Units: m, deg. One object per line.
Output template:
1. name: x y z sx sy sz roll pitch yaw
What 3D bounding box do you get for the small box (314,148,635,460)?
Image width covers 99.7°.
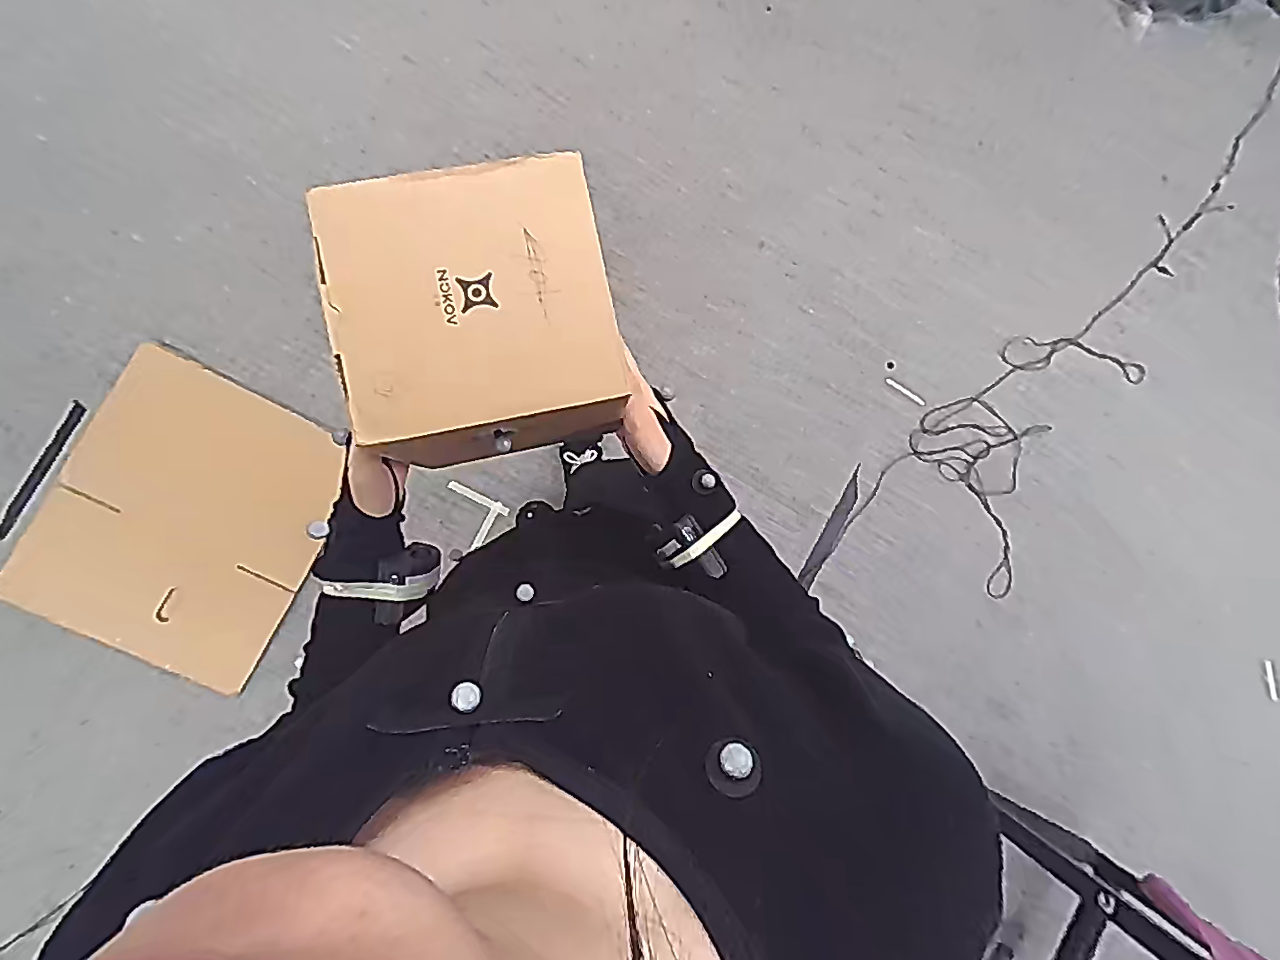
1. small box: -0.109 -0.115 0.419 0.179 0.176 0.168 -12 89 -7
